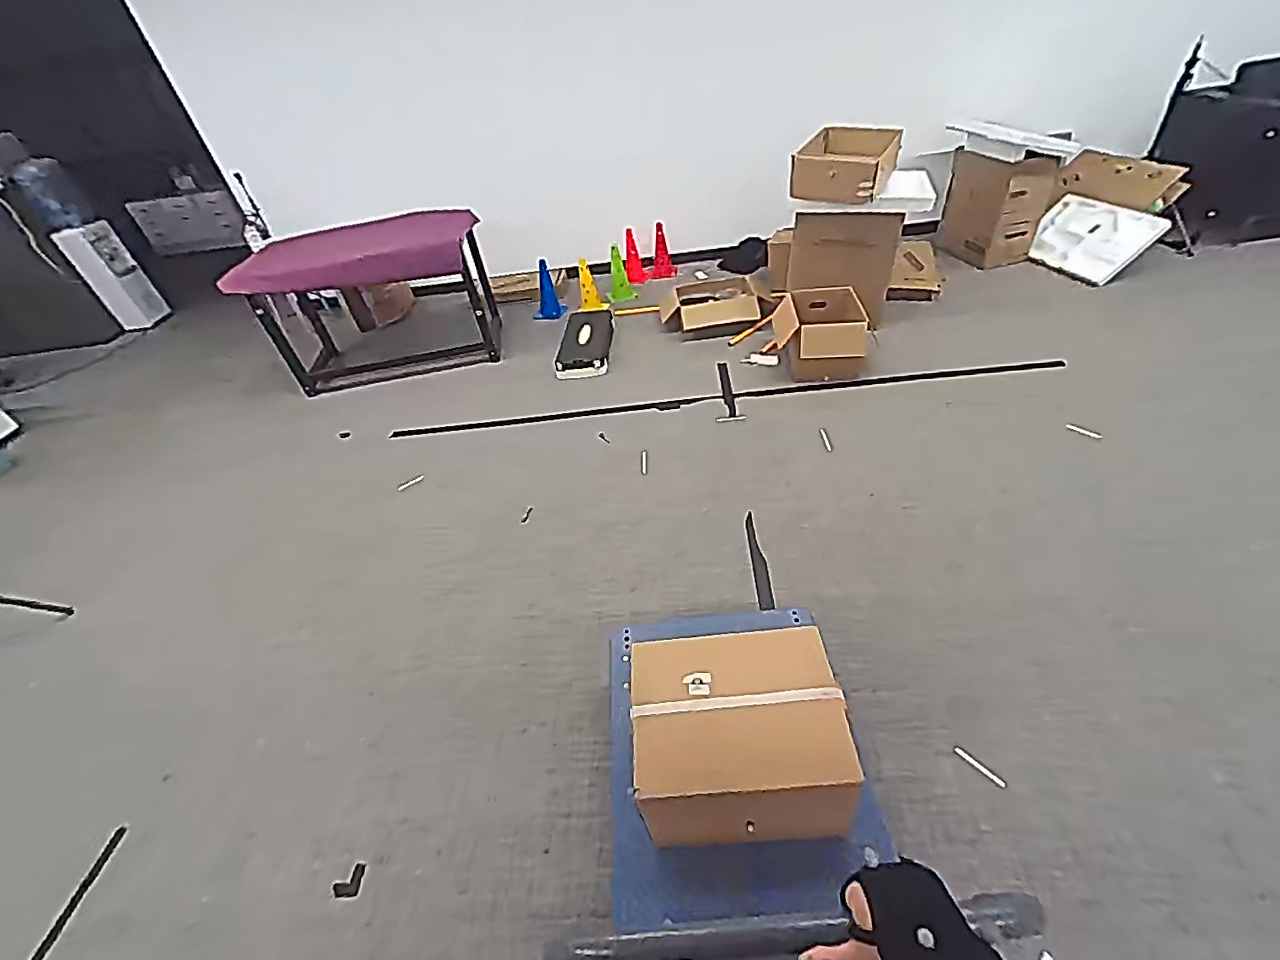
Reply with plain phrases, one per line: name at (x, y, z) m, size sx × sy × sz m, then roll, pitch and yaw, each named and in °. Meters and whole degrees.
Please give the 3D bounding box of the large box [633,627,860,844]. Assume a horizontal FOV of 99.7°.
large box at (0.210, 0.555, 1.169) m, size 0.408 × 0.320 × 0.320 m, roll -8°, pitch 40°, yaw 4°
